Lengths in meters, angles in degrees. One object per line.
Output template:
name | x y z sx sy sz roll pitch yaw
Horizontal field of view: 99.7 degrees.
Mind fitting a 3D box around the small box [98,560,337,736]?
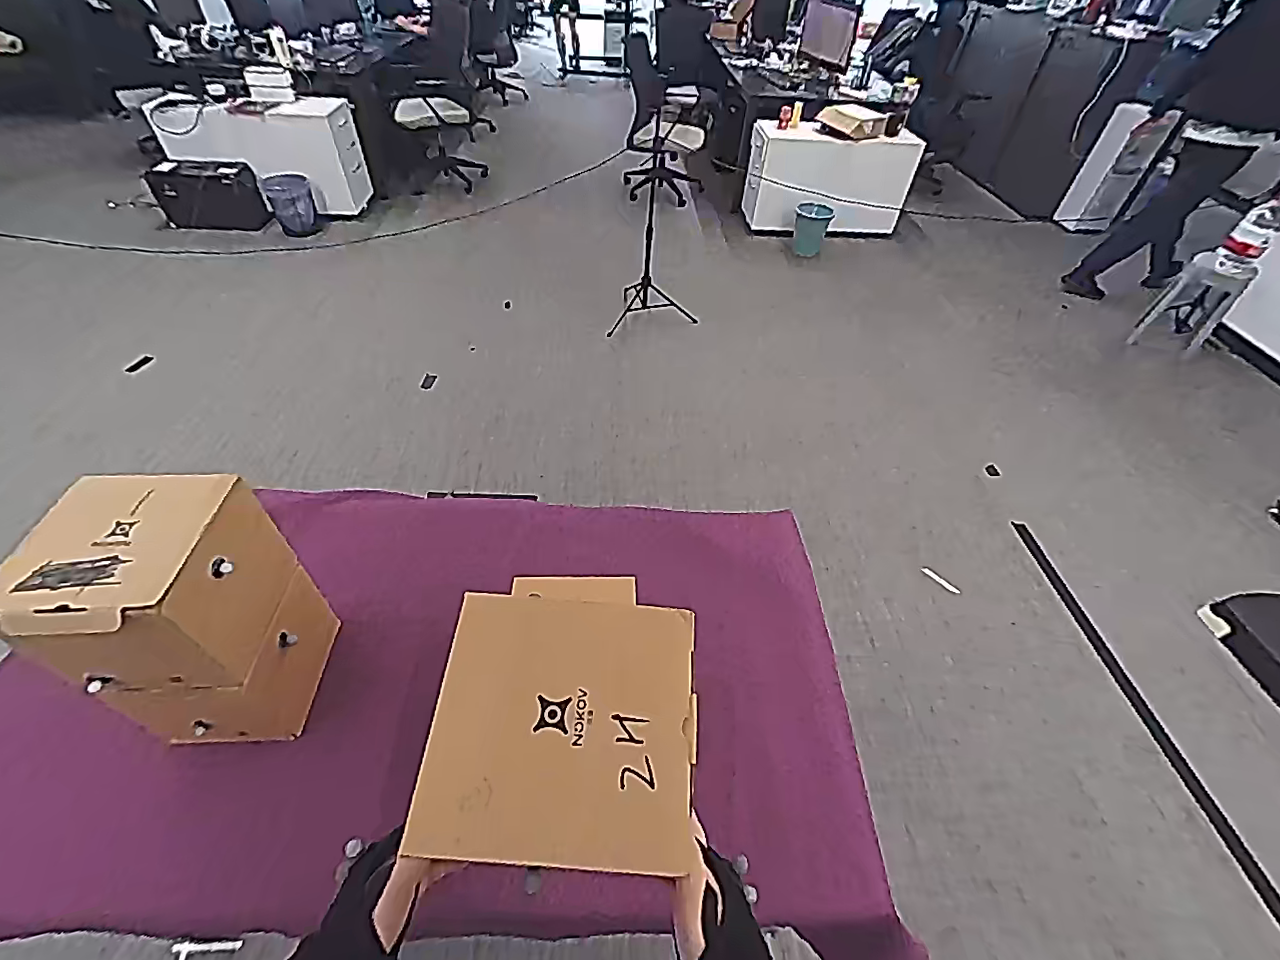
small box | -0.535 0.224 0.725 0.168 0.176 0.179 1 48 -4

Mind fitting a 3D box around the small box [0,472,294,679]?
small box | -0.527 0.111 0.606 0.168 0.176 0.179 0 47 -5

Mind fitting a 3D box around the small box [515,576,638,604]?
small box | -0.087 0.249 0.732 0.168 0.176 0.179 1 46 -4

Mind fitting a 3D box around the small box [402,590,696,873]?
small box | -0.055 0.202 0.430 0.179 0.176 0.168 6 56 -1
